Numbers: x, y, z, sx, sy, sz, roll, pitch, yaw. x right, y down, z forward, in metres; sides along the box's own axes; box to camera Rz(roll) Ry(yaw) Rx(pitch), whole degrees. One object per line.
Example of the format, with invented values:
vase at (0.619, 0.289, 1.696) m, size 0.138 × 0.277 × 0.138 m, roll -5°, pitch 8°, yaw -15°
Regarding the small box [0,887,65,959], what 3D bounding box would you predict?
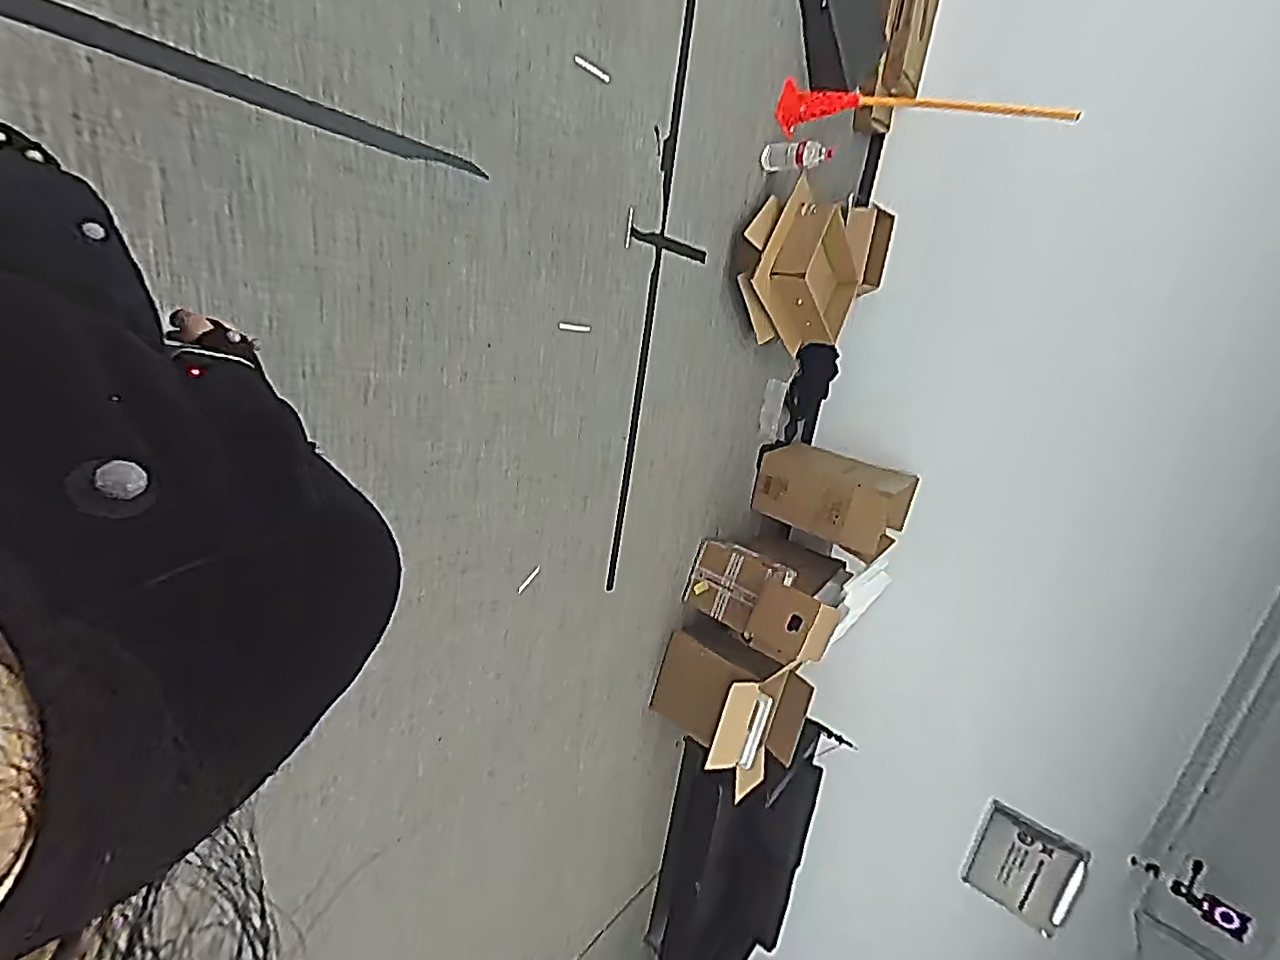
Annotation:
small box at (-0.950, 0.736, 0.772) m, size 0.168 × 0.176 × 0.179 m, roll -4°, pitch 109°, yaw -51°
